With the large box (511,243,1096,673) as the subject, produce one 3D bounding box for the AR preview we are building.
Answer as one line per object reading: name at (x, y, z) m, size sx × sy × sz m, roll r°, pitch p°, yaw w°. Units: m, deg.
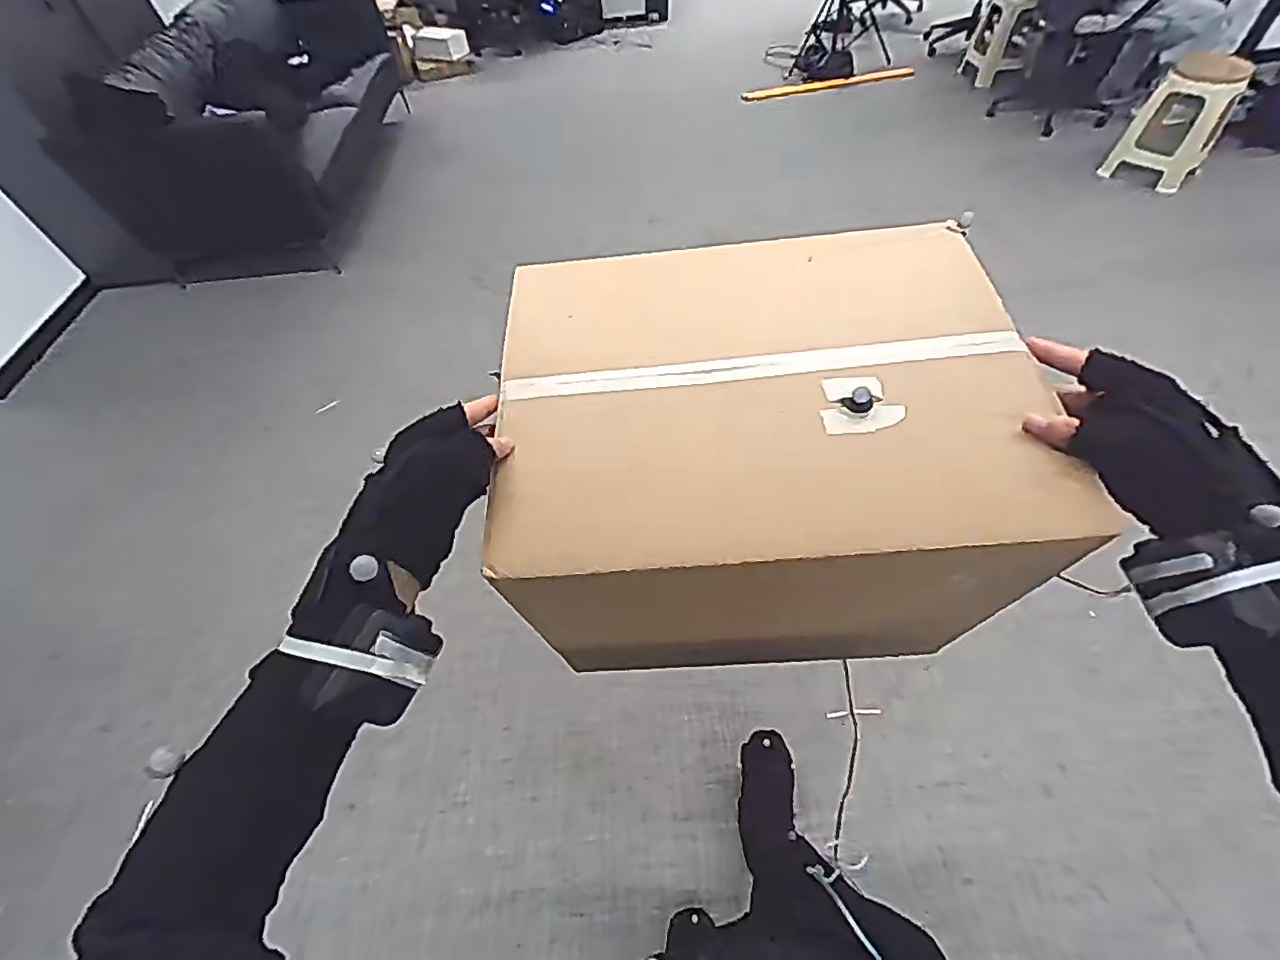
large box at (0.108, -0.001, 0.567) m, size 0.408 × 0.320 × 0.320 m, roll -4°, pitch 59°, yaw 2°
